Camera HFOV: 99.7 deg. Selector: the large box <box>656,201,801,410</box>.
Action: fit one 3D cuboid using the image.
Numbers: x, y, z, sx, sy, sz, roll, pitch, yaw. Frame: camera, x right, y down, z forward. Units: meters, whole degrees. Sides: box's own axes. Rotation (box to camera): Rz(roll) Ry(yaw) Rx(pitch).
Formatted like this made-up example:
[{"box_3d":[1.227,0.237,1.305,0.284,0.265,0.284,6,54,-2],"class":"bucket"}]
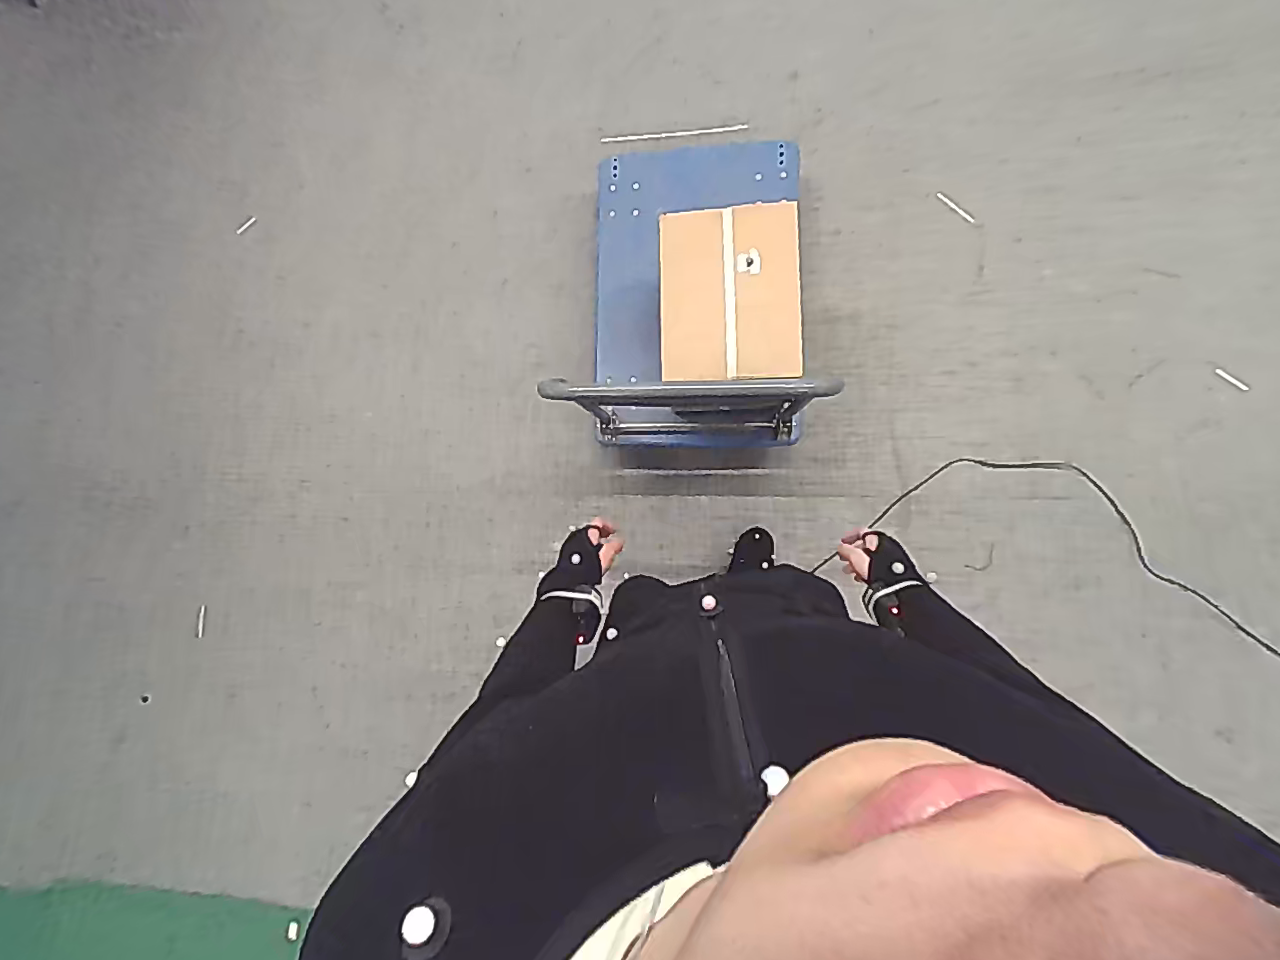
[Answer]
[{"box_3d":[0.215,-0.409,1.355,0.320,0.320,0.408,-1,85,7],"class":"large box"}]
